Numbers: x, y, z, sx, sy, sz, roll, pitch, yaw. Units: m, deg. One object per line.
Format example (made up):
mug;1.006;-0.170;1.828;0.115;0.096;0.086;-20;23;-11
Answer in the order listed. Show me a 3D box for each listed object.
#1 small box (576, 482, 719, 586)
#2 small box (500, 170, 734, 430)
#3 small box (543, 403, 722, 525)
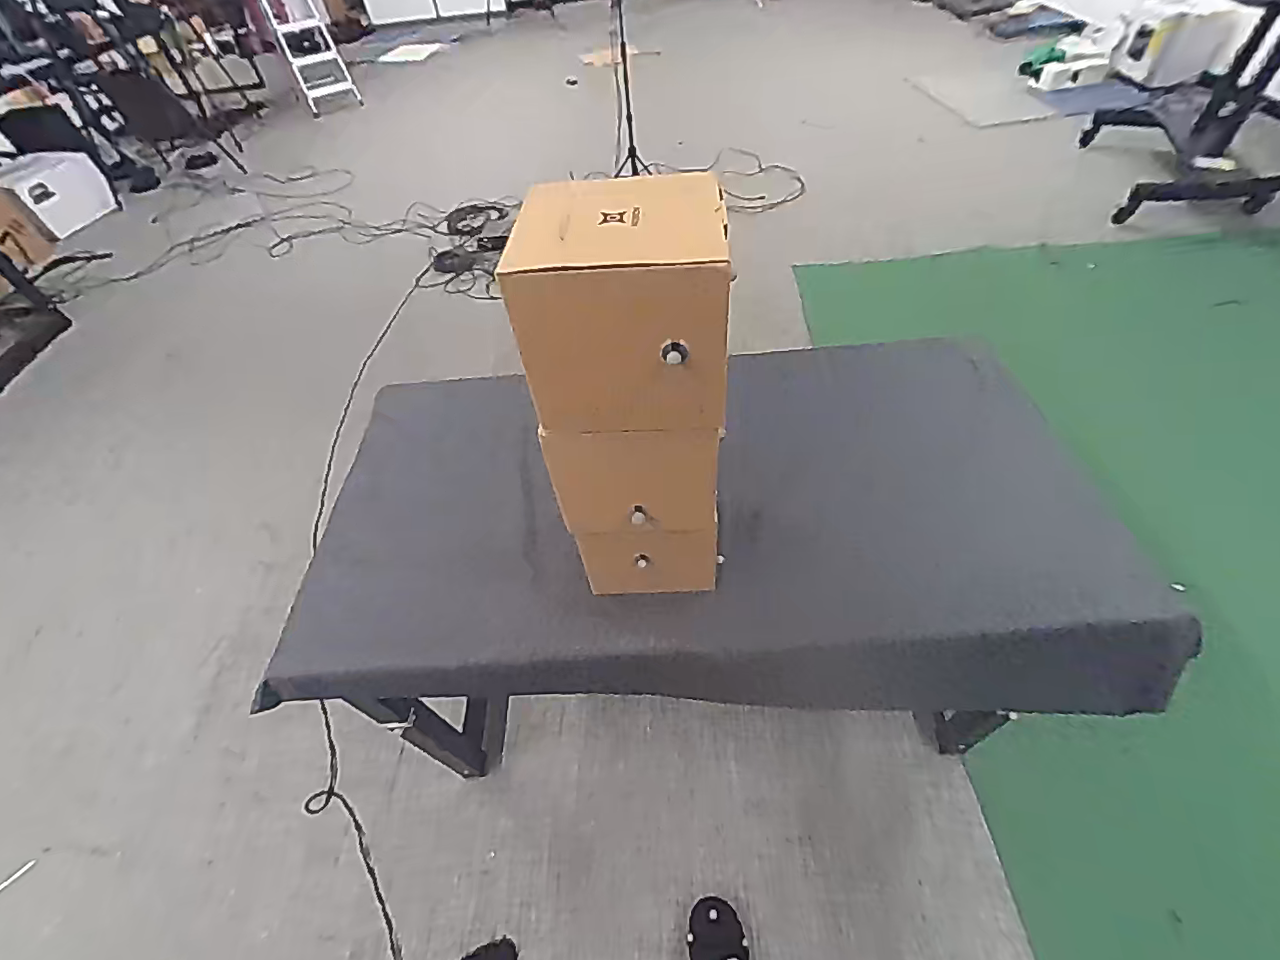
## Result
small box;0.016;0.038;0.763;0.179;0.176;0.168;-4;50;5
small box;-0.009;-0.163;0.507;0.179;0.176;0.168;-3;49;5
small box;-0.002;-0.059;0.633;0.179;0.176;0.168;-2;50;4
